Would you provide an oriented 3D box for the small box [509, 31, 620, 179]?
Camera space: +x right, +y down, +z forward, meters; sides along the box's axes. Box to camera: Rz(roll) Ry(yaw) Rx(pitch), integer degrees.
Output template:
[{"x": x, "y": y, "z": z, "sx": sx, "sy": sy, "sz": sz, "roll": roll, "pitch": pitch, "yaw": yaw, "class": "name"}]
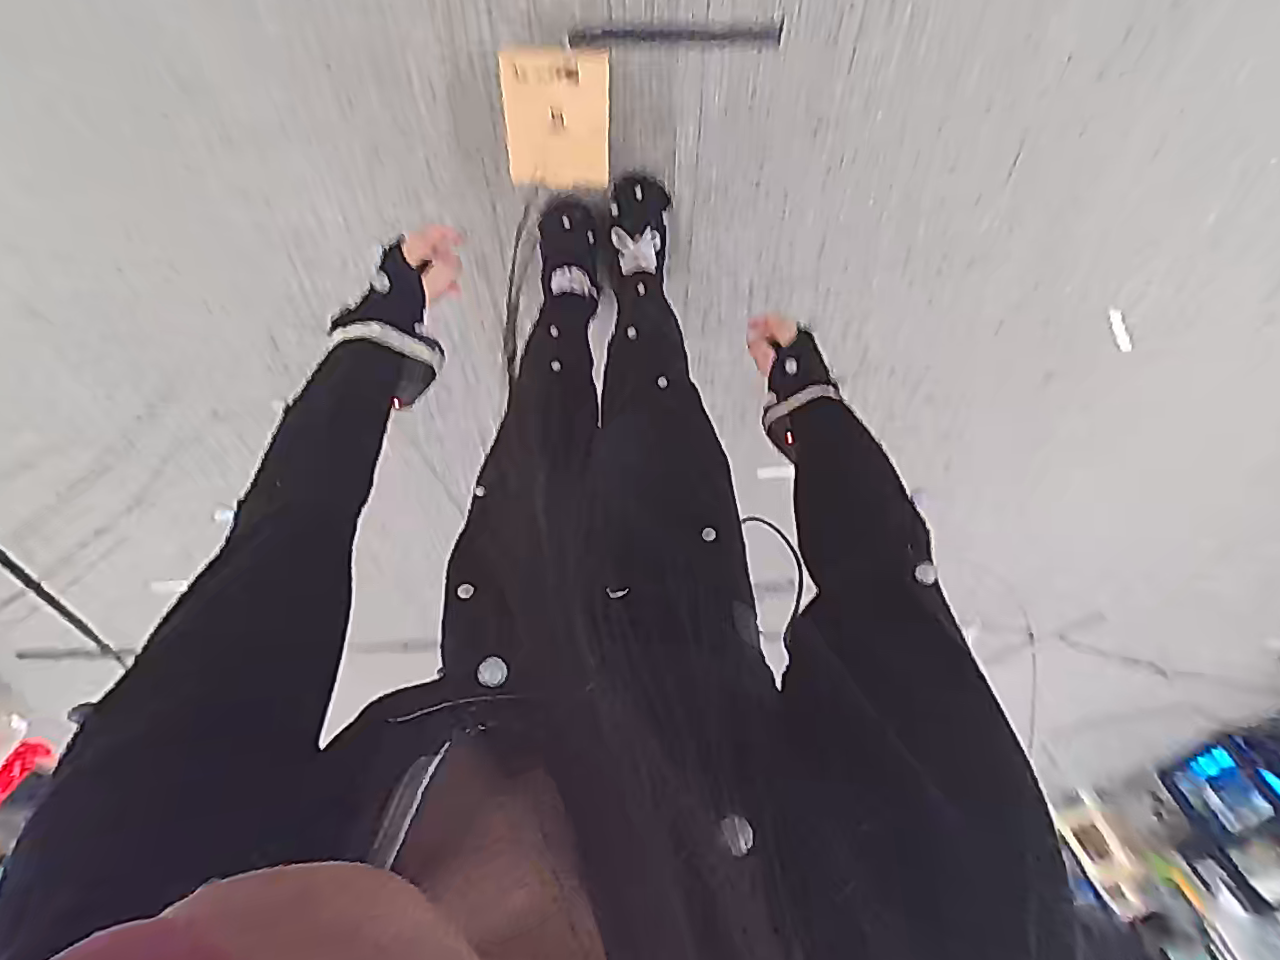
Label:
[{"x": -0.120, "y": -0.633, "z": 0.913, "sx": 0.168, "sy": 0.176, "sz": 0.179, "roll": 1, "pitch": 133, "yaw": -4, "class": "small box"}]
